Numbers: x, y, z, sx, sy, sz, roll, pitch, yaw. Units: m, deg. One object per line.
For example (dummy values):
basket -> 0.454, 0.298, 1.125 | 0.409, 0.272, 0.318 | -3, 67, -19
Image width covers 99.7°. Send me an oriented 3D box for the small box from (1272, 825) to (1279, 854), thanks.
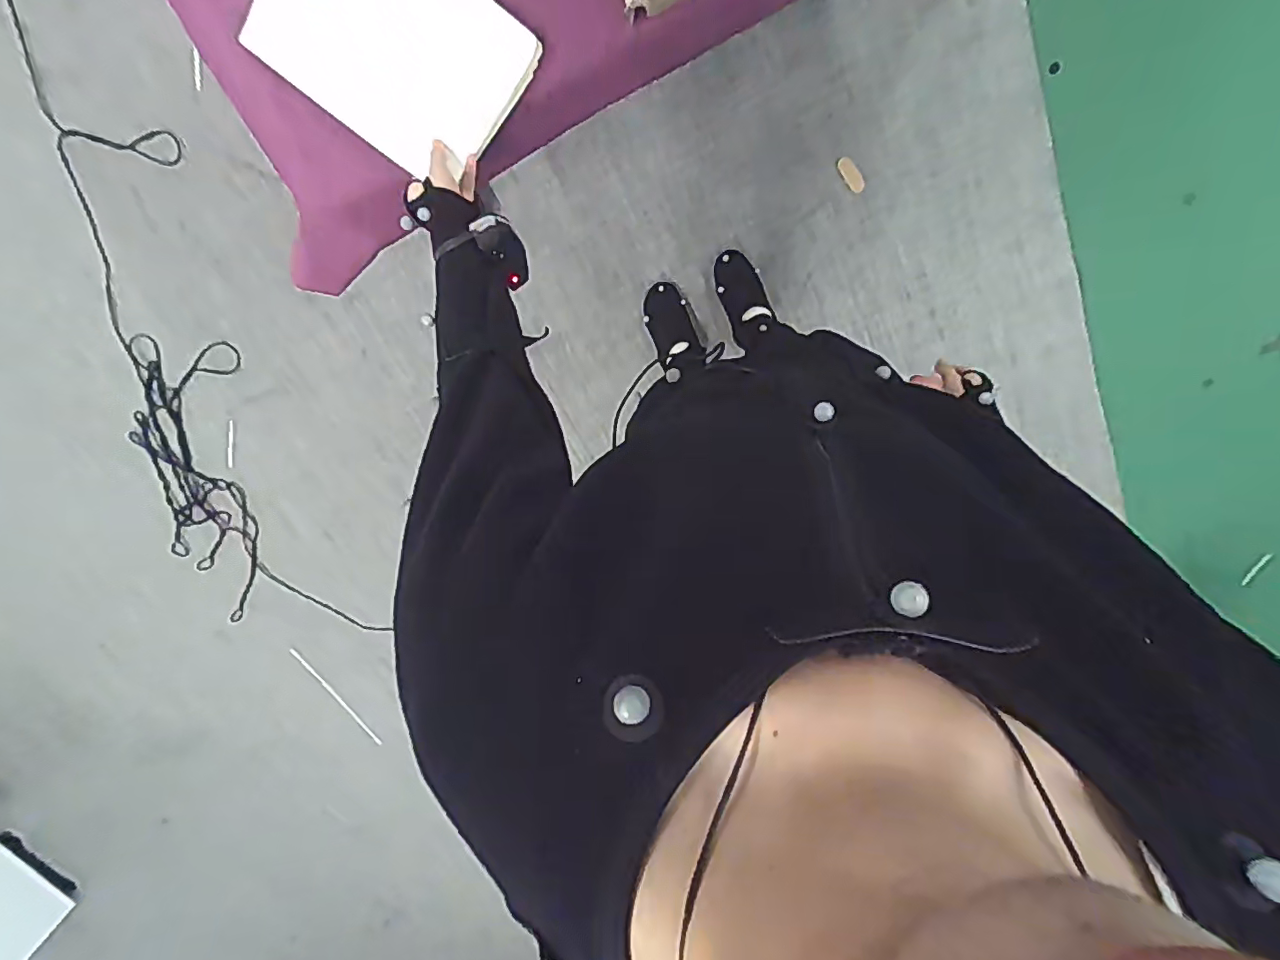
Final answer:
small box -> 1.454, 0.794, 1.089 | 0.179, 0.176, 0.168 | -38, 106, 14
